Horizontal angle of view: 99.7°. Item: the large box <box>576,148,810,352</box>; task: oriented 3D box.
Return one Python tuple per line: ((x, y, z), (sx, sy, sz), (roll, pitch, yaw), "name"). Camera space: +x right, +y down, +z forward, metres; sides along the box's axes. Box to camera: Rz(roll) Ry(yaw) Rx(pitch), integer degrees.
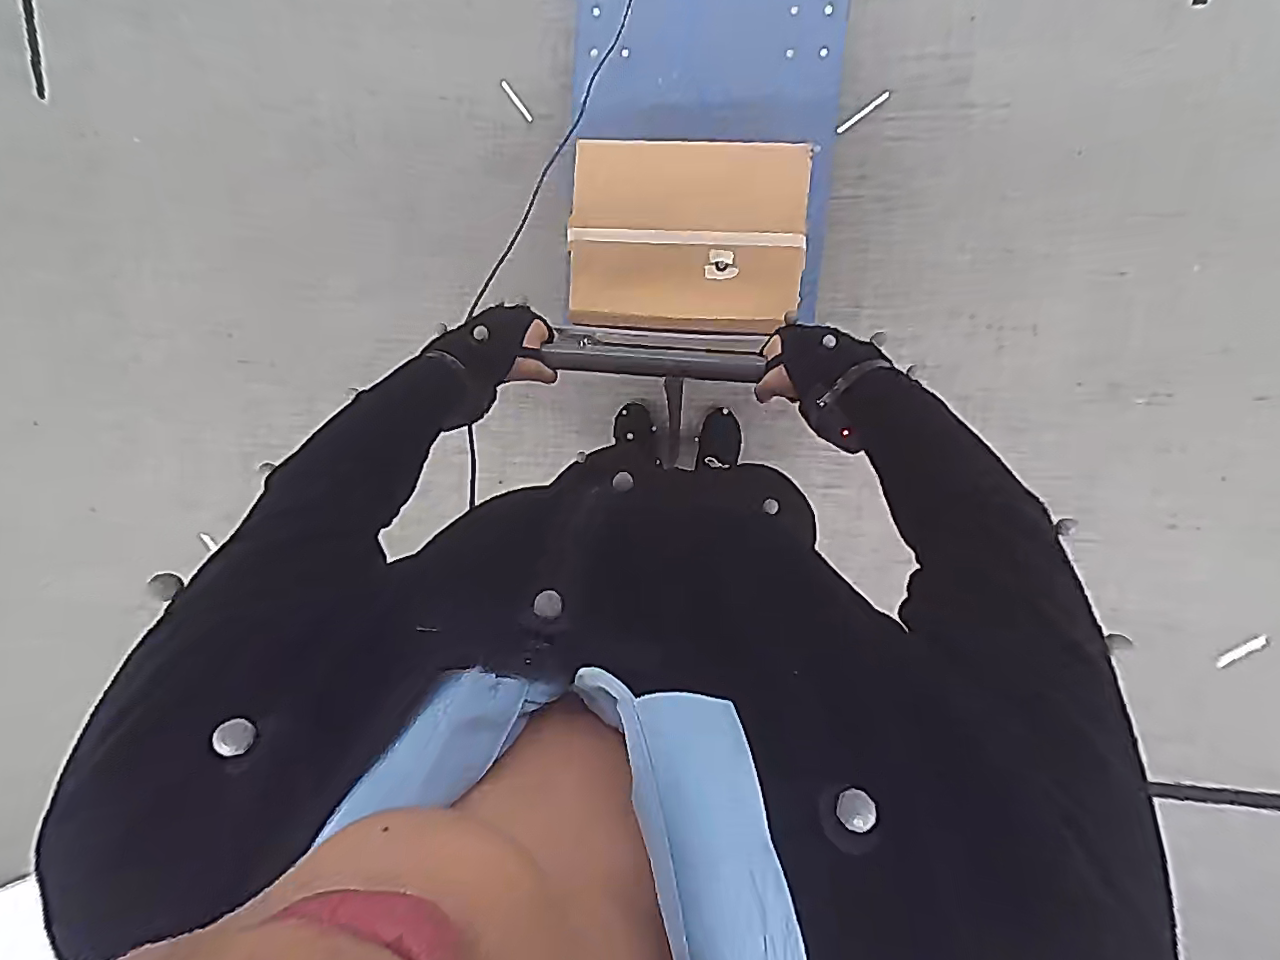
((0.098, -0.441, 1.105), (0.408, 0.320, 0.320), (4, 98, 5), "large box")
